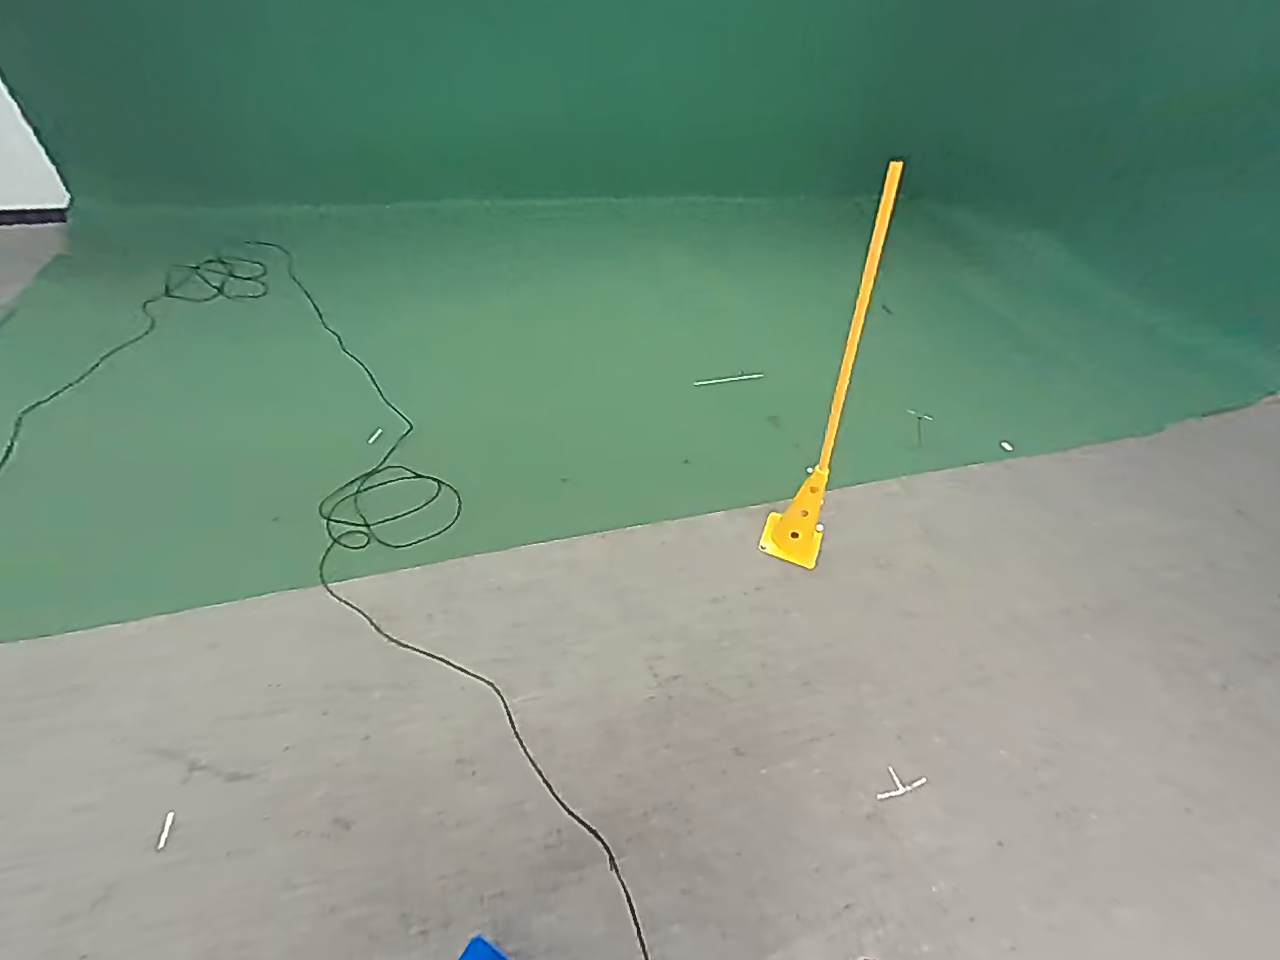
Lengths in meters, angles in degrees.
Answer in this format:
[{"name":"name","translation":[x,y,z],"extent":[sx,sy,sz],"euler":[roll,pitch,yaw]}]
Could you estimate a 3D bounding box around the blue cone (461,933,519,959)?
[{"name":"blue cone","translation":[-0.289,0.907,0.906],"extent":[0.192,0.380,0.193],"euler":[25,51,16]}]
